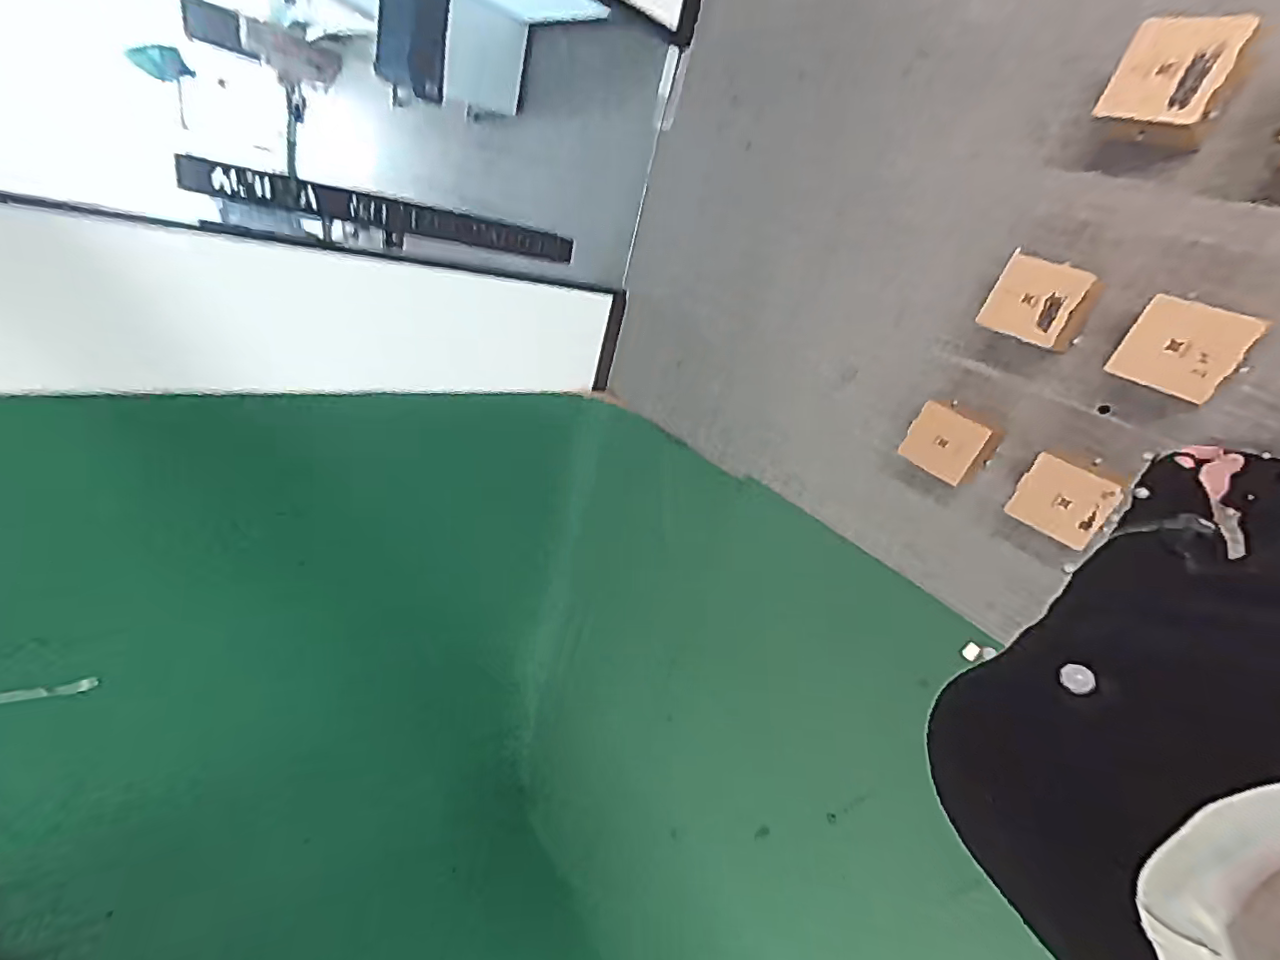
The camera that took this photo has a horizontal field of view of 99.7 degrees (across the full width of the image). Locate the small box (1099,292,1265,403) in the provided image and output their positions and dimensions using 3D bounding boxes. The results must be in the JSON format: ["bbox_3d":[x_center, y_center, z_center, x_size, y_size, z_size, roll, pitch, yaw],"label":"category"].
[{"bbox_3d":[1.102,-0.266,1.105,0.179,0.176,0.168,41,125,37],"label":"small box"}]

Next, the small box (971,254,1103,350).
[{"bbox_3d":[0.936,-0.413,1.272,0.179,0.176,0.168,42,125,37],"label":"small box"}]

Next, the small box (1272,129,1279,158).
[{"bbox_3d":[1.232,-0.628,0.903,0.168,0.176,0.179,42,124,37],"label":"small box"}]

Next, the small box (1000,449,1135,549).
[{"bbox_3d":[1.002,0.037,1.267,0.179,0.176,0.168,41,125,39],"label":"small box"}]
